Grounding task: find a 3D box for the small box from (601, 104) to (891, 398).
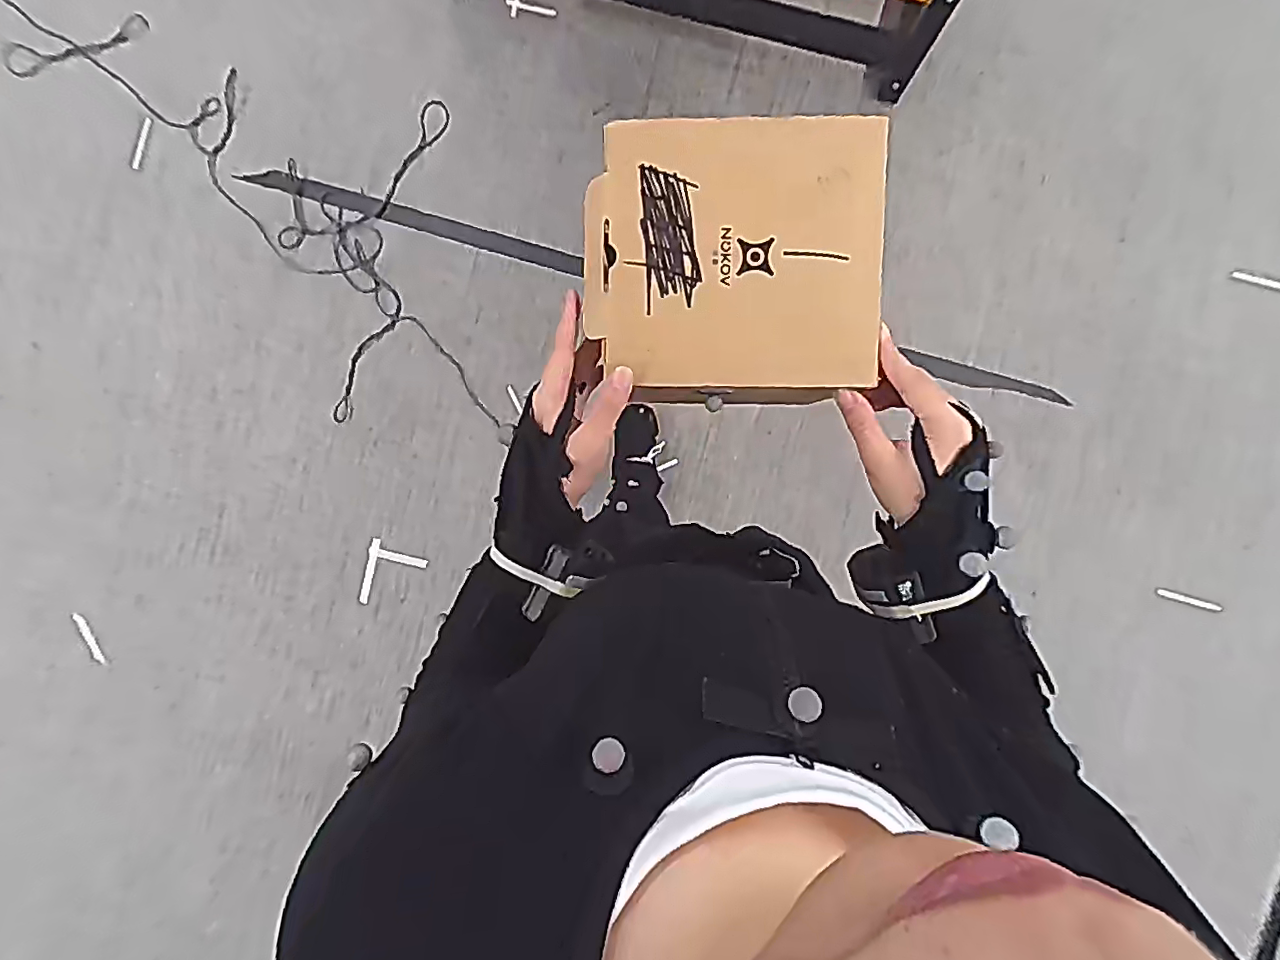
[{"bbox_3d":[0.067,-0.151,0.413,0.179,0.176,0.168,1,95,2],"label":"small box"}]
